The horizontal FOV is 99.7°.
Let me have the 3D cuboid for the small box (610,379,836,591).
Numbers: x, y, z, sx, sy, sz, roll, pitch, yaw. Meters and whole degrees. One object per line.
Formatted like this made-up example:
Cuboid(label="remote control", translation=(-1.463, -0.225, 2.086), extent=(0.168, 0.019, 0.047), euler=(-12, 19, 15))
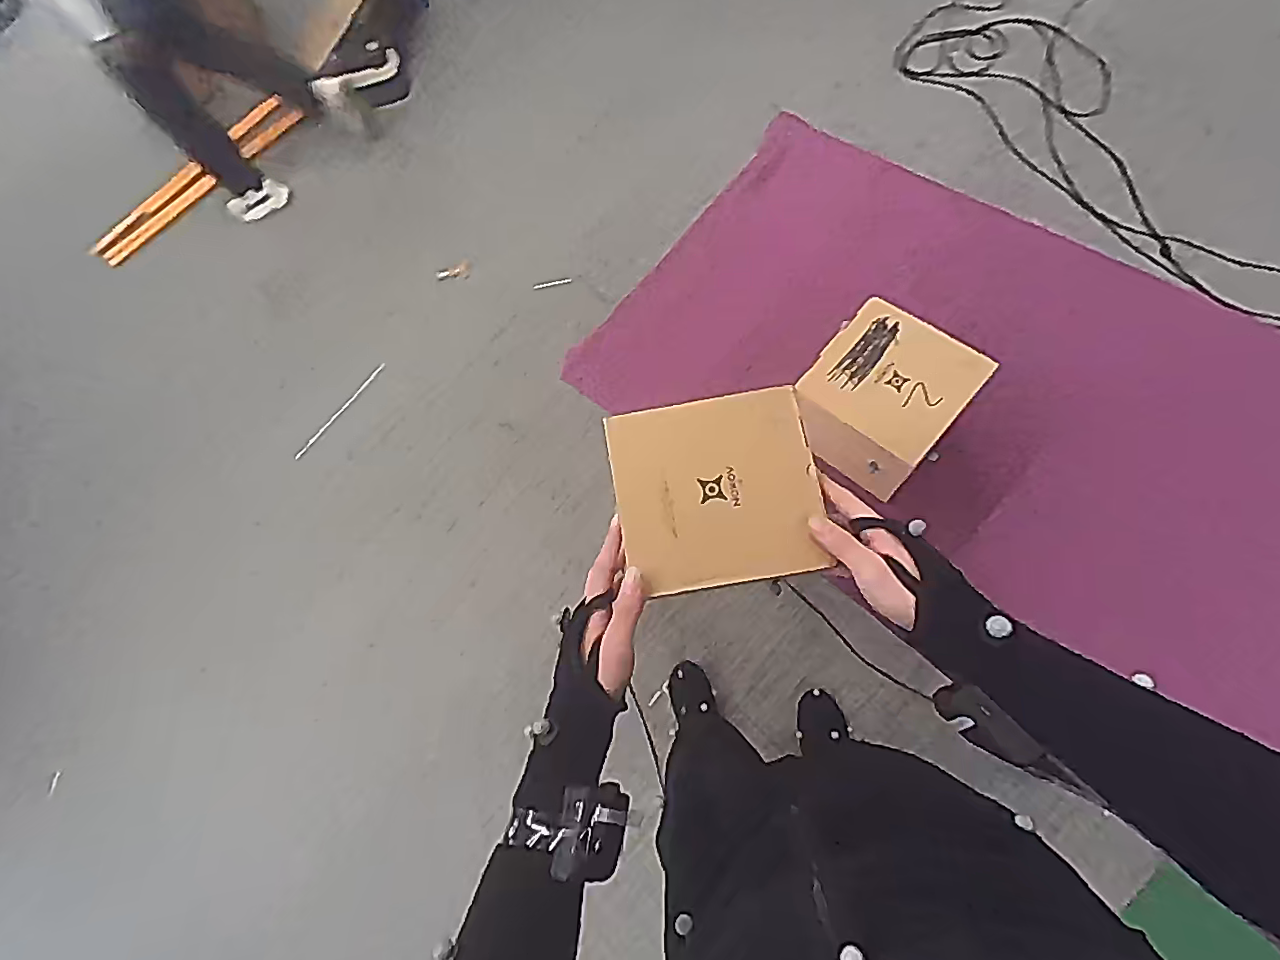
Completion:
Cuboid(label="small box", translation=(0.074, 0.017, 0.543), extent=(0.179, 0.176, 0.168), euler=(-9, 75, 4))
